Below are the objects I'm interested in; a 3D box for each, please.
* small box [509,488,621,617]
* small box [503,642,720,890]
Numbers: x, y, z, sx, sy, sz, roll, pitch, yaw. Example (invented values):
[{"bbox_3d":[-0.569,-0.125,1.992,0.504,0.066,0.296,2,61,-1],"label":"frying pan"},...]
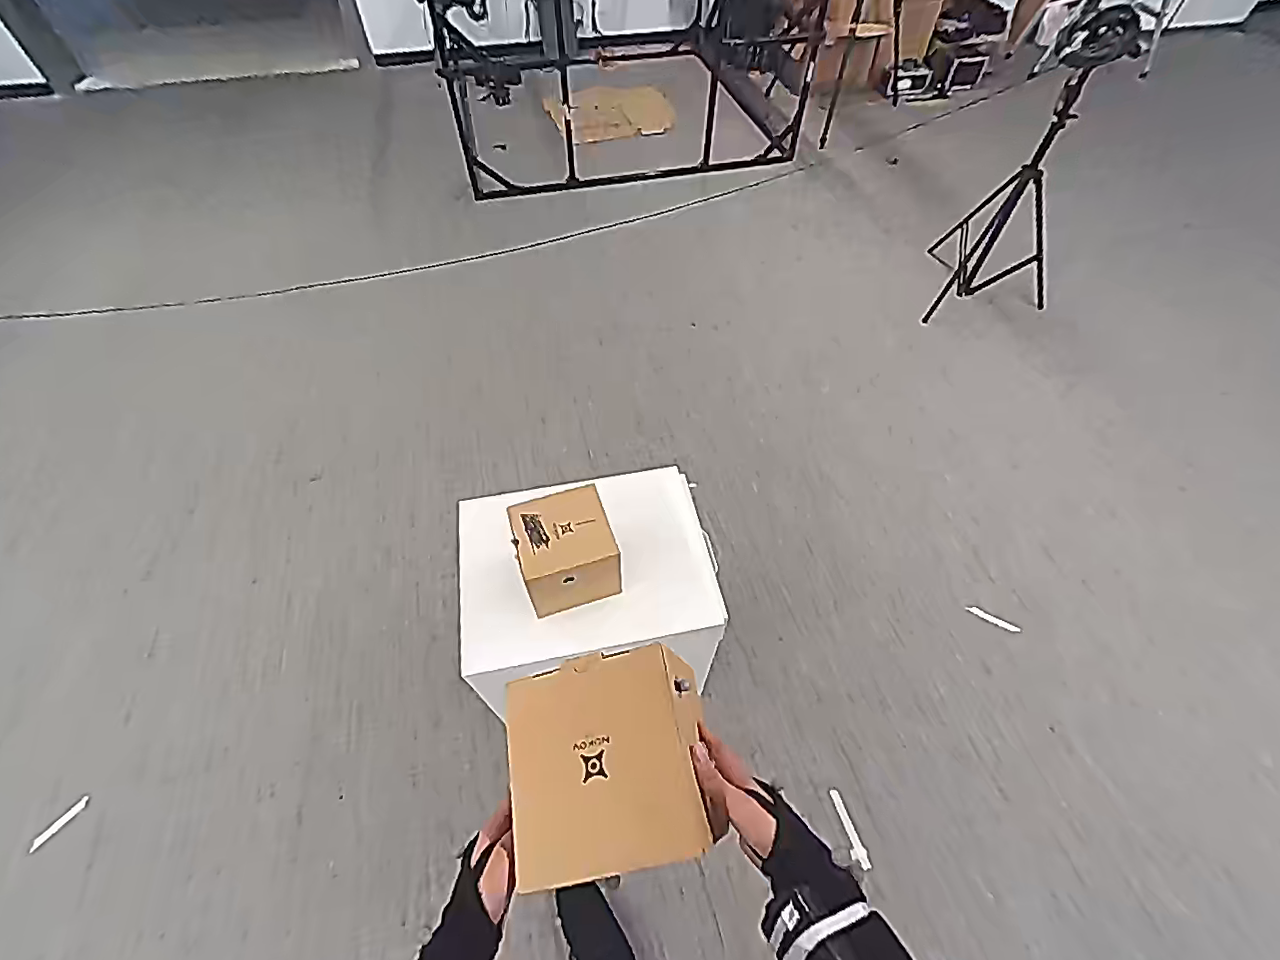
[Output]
[{"bbox_3d":[-0.142,0.145,1.053,0.179,0.176,0.168,-15,55,-12],"label":"small box"},{"bbox_3d":[-0.024,0.286,0.554,0.168,0.176,0.179,-17,58,8],"label":"small box"}]
